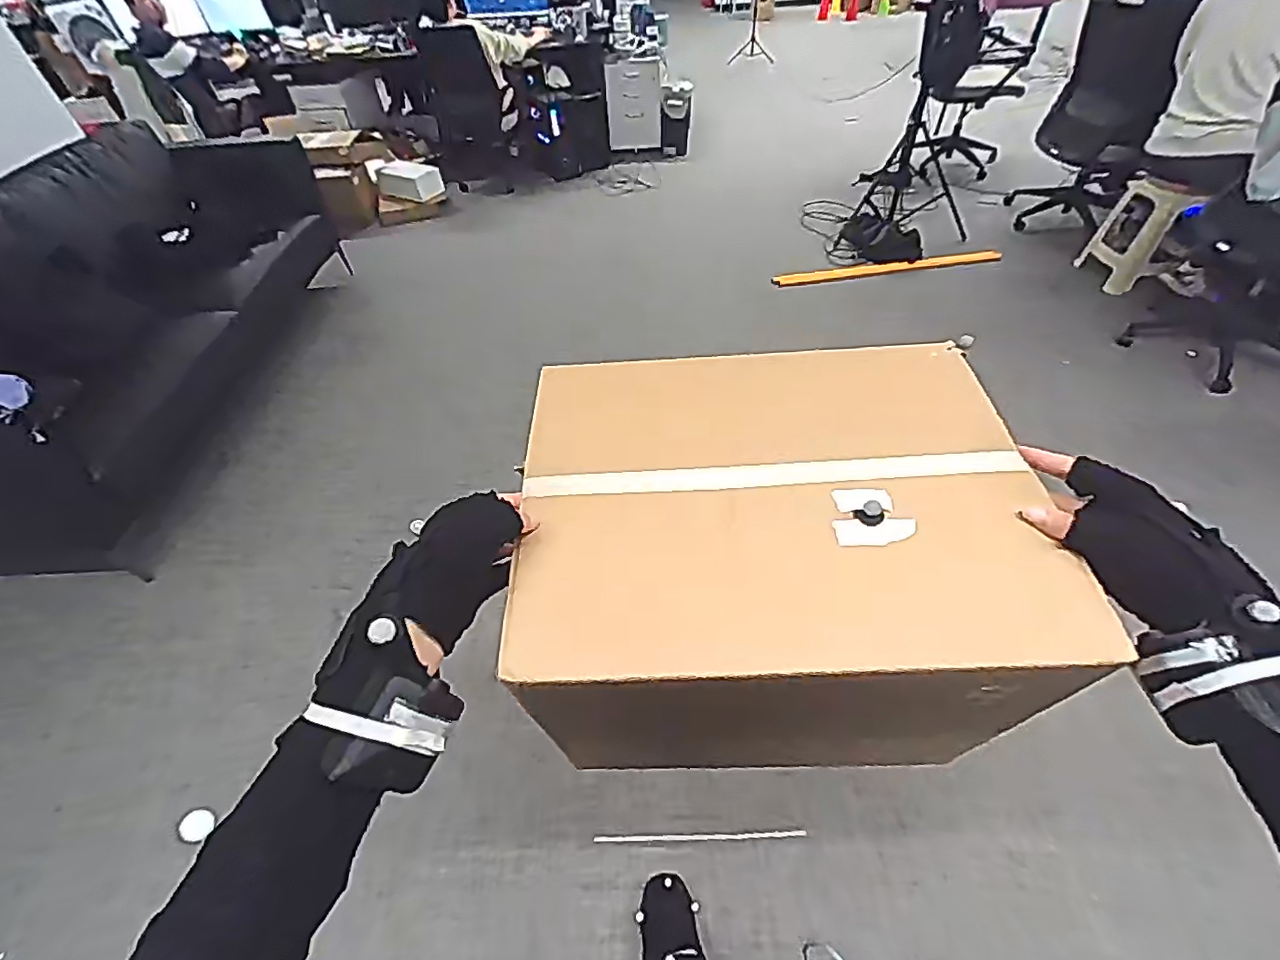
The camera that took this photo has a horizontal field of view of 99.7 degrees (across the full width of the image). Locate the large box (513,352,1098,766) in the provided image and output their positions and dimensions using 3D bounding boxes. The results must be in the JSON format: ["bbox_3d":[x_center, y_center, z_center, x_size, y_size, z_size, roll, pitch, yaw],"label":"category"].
[{"bbox_3d":[0.114,0.096,0.571,0.408,0.320,0.320,-3,53,3],"label":"large box"}]
